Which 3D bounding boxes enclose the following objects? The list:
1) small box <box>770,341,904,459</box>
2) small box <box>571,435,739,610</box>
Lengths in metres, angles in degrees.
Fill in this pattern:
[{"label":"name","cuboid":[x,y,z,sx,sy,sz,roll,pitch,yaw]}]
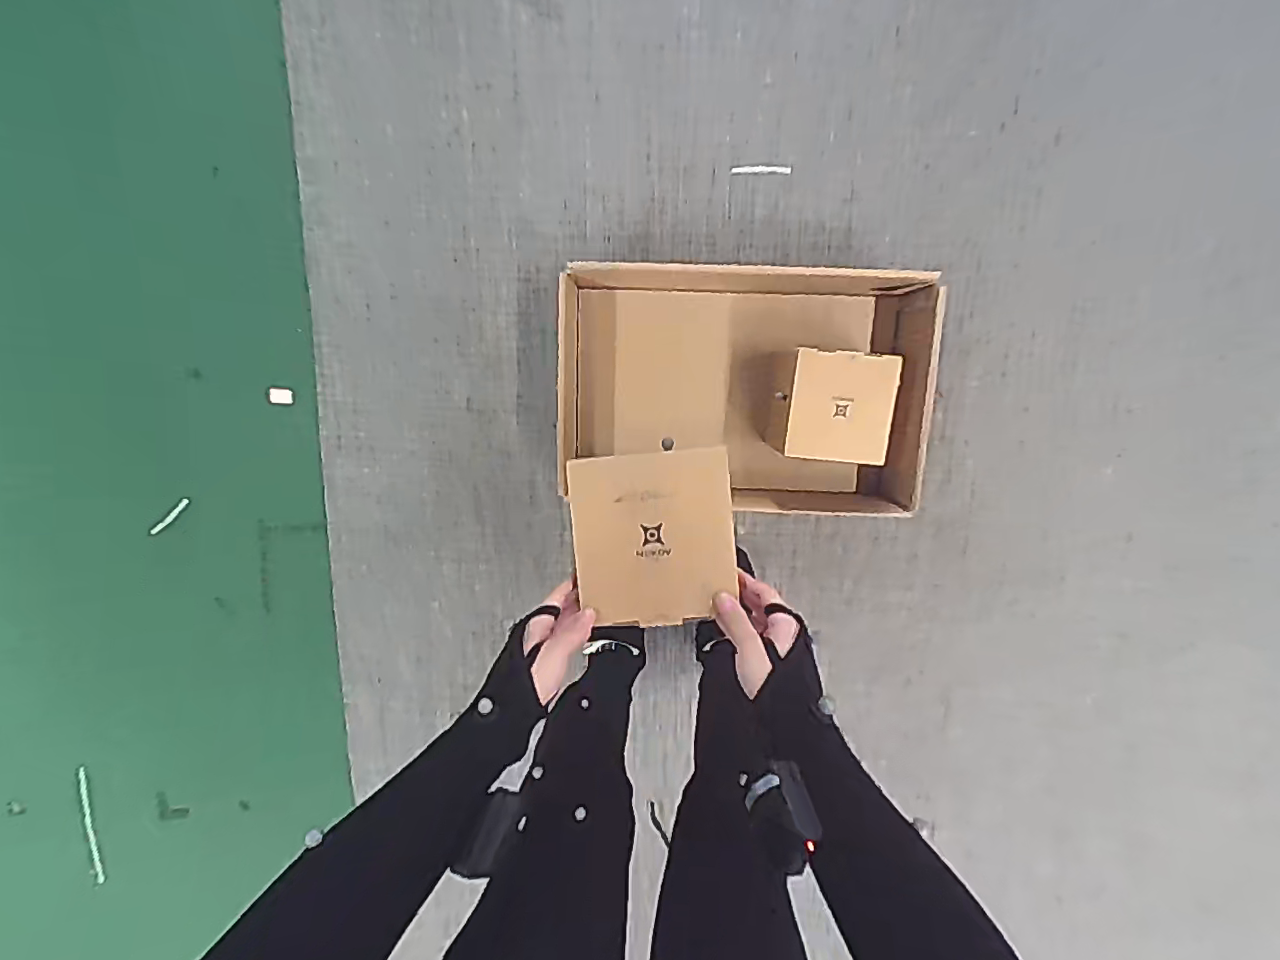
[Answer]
[{"label":"small box","cuboid":[0.328,-0.140,0.937,0.168,0.176,0.179,5,100,2]},{"label":"small box","cuboid":[0.024,0.040,0.633,0.168,0.176,0.179,-5,93,6]}]
